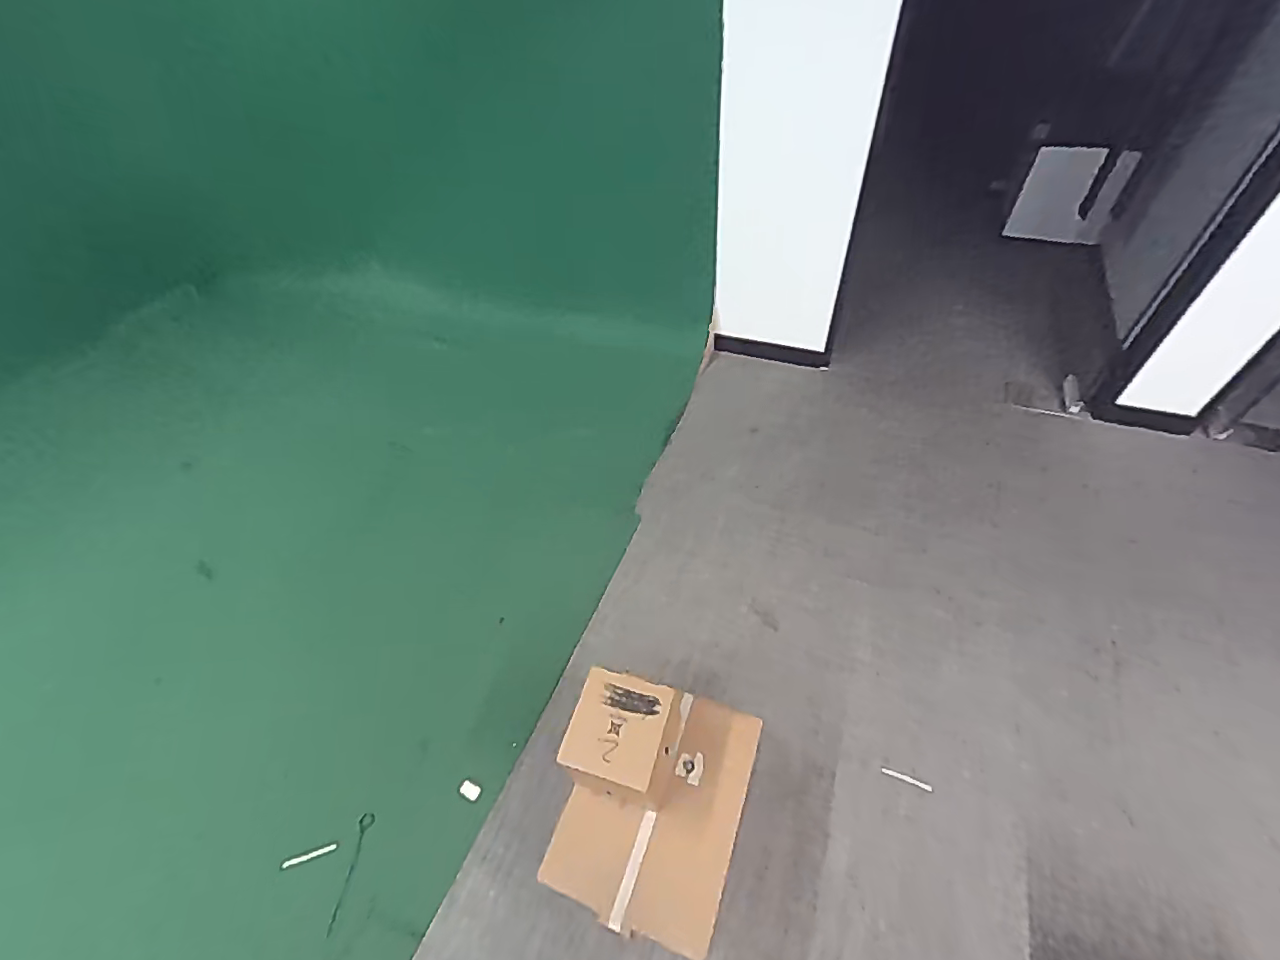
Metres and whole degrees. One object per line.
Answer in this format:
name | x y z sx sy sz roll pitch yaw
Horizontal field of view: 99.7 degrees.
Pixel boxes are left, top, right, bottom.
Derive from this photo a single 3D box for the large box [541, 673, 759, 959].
large box | 0.047 0.697 1.133 0.320 0.320 0.408 14 52 18
